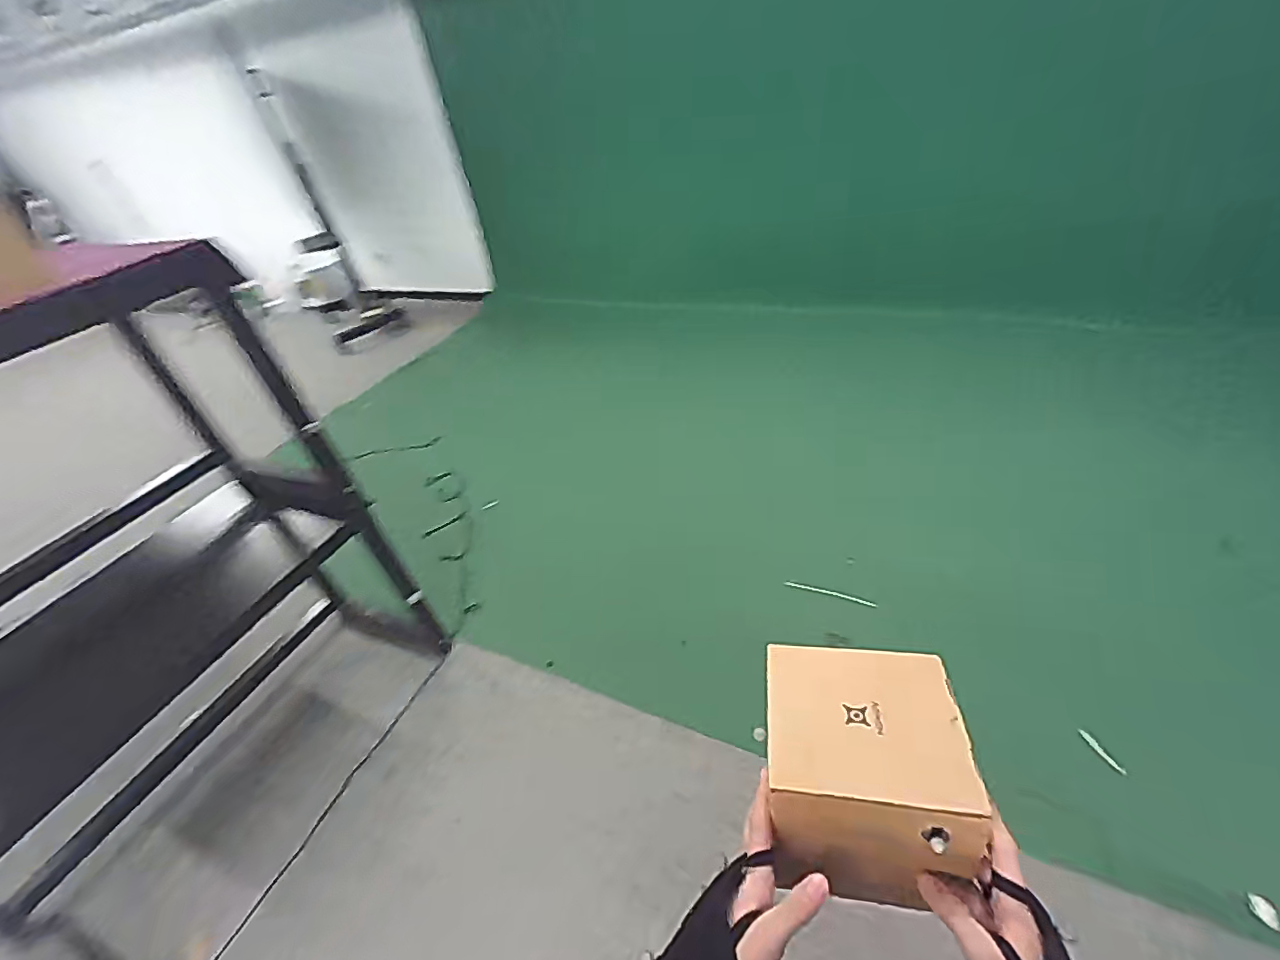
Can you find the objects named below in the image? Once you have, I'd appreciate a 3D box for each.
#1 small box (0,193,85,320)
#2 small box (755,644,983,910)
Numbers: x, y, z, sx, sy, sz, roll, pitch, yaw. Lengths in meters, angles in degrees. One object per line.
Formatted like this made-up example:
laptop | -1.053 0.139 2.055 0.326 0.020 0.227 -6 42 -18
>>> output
small box | -1.153 -0.381 0.940 0.168 0.176 0.179 11 43 24
small box | 0.208 0.288 0.540 0.179 0.176 0.168 0 29 13
